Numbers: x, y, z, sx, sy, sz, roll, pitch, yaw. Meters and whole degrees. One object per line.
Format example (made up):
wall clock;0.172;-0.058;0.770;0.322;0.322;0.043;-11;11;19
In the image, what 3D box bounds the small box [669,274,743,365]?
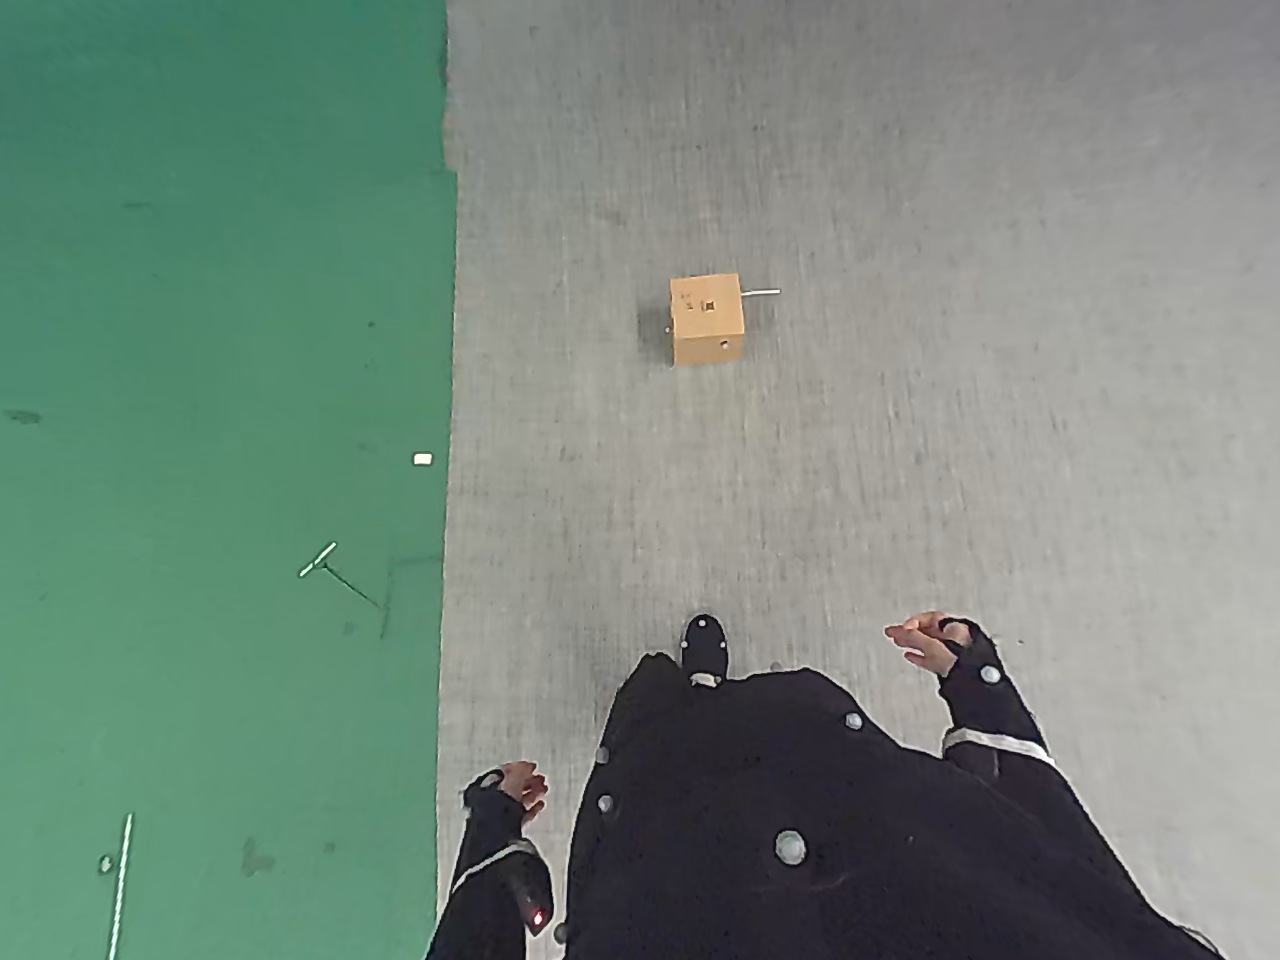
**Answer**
small box;0.167;-0.415;1.419;0.179;0.176;0.168;-4;78;4
